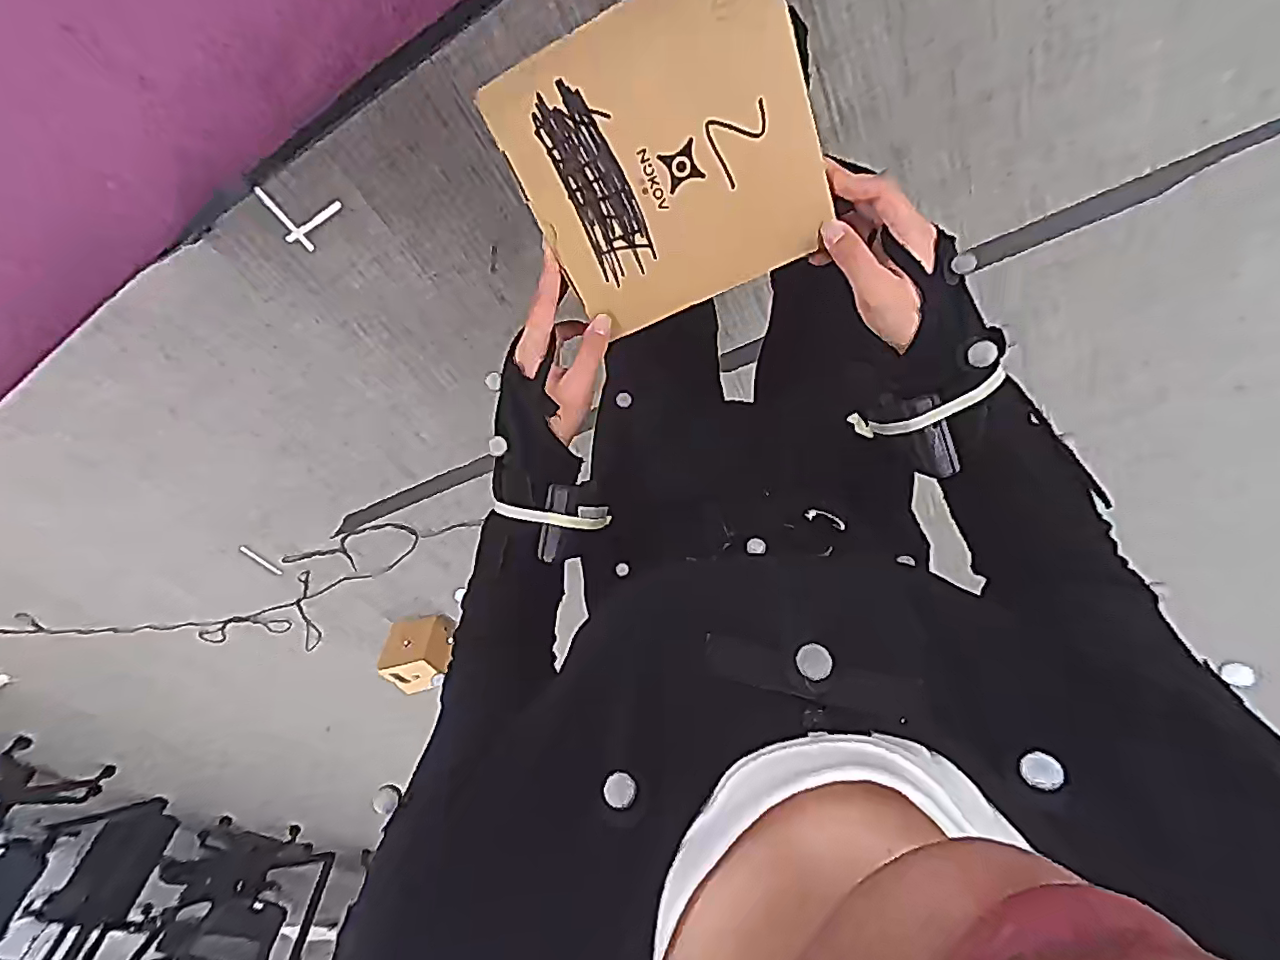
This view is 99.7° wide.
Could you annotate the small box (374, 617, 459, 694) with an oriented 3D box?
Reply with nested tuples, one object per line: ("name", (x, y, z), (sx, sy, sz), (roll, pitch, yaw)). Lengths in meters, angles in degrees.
("small box", (-0.723, 0.574, 1.773), (0.179, 0.176, 0.168), (-16, 131, 12))
